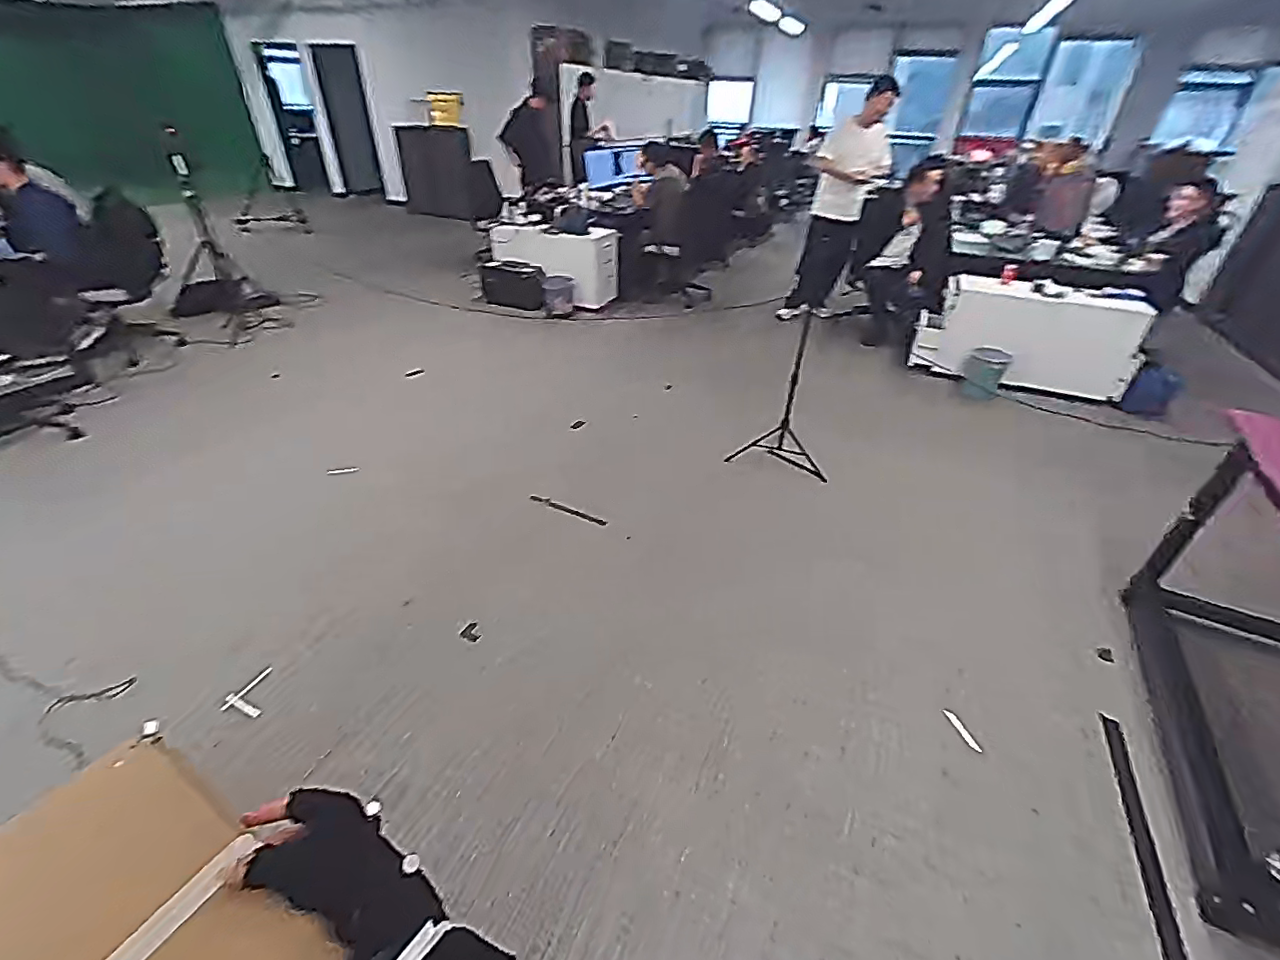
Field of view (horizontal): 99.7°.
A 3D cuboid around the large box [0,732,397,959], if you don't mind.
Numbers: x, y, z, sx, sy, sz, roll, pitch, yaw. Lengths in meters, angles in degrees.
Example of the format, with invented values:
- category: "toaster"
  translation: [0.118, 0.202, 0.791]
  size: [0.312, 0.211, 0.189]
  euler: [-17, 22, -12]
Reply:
- category: "large box"
  translation: [-0.431, 0.501, 0.395]
  size: [0.320, 0.320, 0.408]
  euler: [29, 42, 16]
